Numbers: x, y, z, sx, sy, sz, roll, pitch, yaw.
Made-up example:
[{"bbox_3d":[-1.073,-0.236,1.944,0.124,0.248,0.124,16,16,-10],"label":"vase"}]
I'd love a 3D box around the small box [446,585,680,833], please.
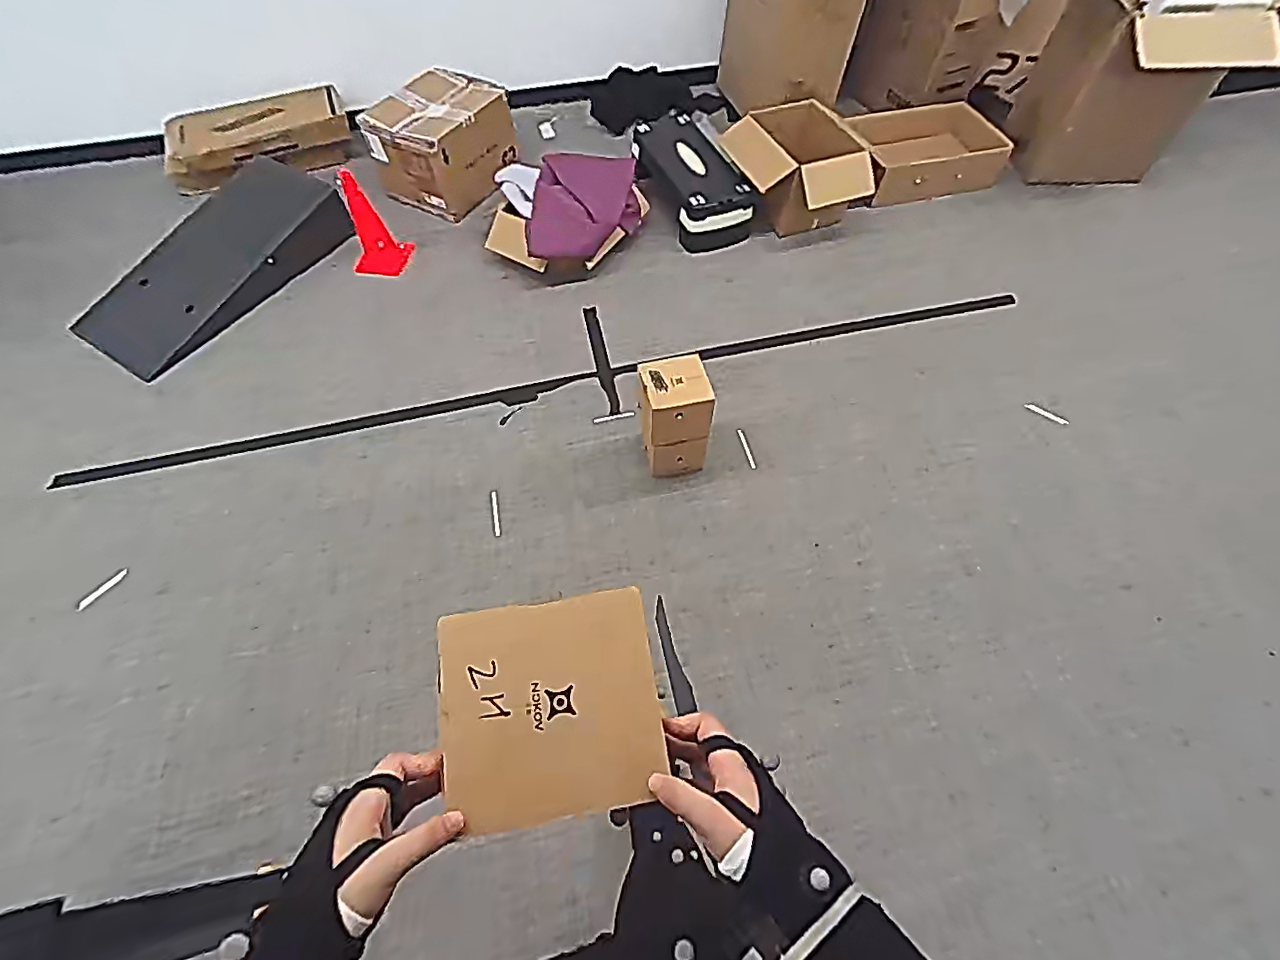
[{"bbox_3d":[-0.070,0.205,0.509,0.179,0.176,0.168,-8,68,-6],"label":"small box"}]

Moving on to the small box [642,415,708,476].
[{"bbox_3d":[0.102,-0.127,1.648,0.168,0.176,0.179,-10,61,-6],"label":"small box"}]

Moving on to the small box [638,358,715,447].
[{"bbox_3d":[0.097,-0.211,1.505,0.179,0.176,0.168,-11,60,-7],"label":"small box"}]
